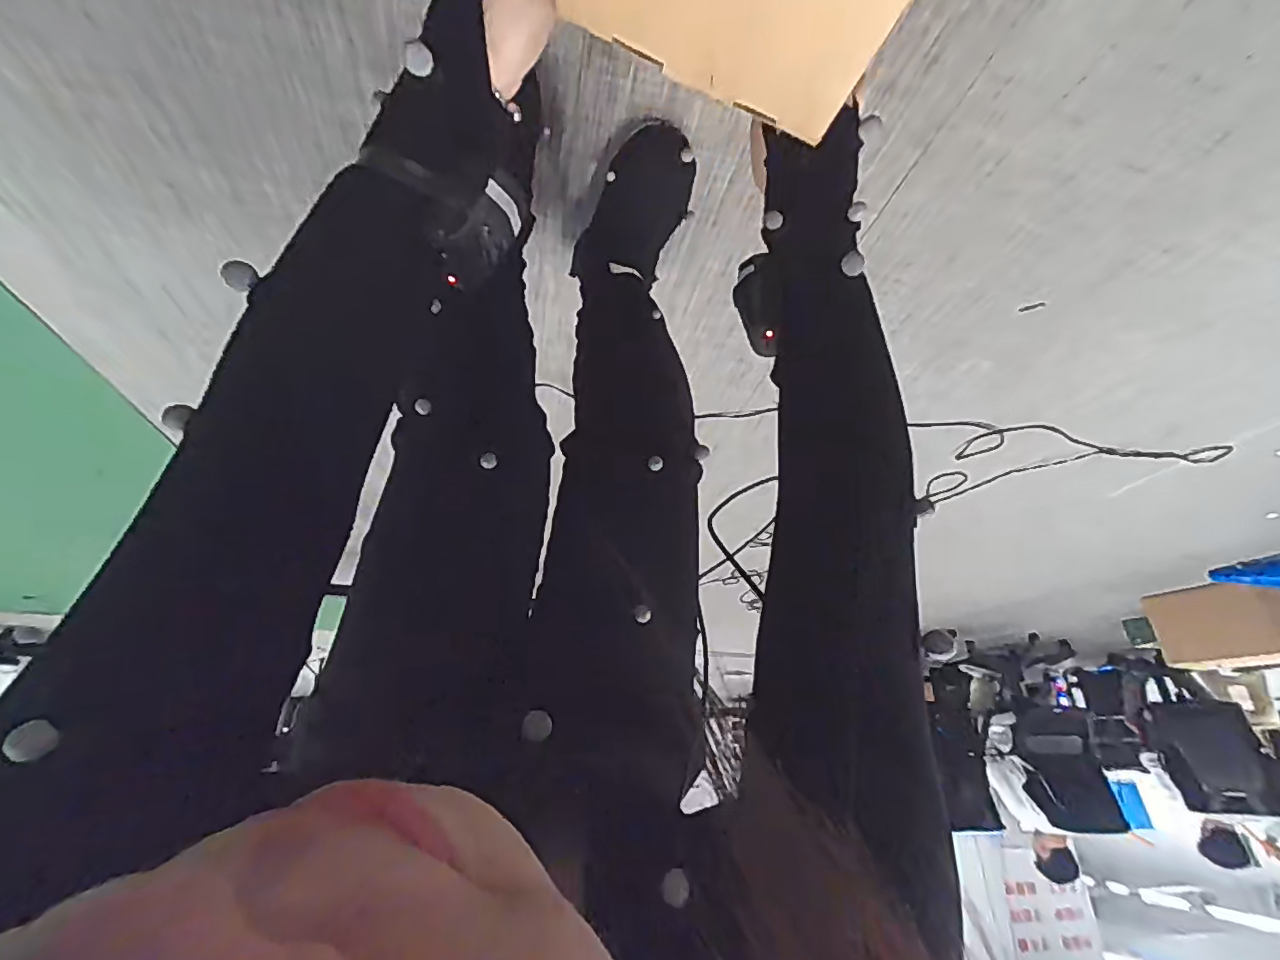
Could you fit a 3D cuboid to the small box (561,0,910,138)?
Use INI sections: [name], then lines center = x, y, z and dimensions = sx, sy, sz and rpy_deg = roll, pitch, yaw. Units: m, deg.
[small box]
center = 0.062, -0.329, 0.273
dimensions = 0.168, 0.176, 0.179
rpy_deg = 12, 144, -20
